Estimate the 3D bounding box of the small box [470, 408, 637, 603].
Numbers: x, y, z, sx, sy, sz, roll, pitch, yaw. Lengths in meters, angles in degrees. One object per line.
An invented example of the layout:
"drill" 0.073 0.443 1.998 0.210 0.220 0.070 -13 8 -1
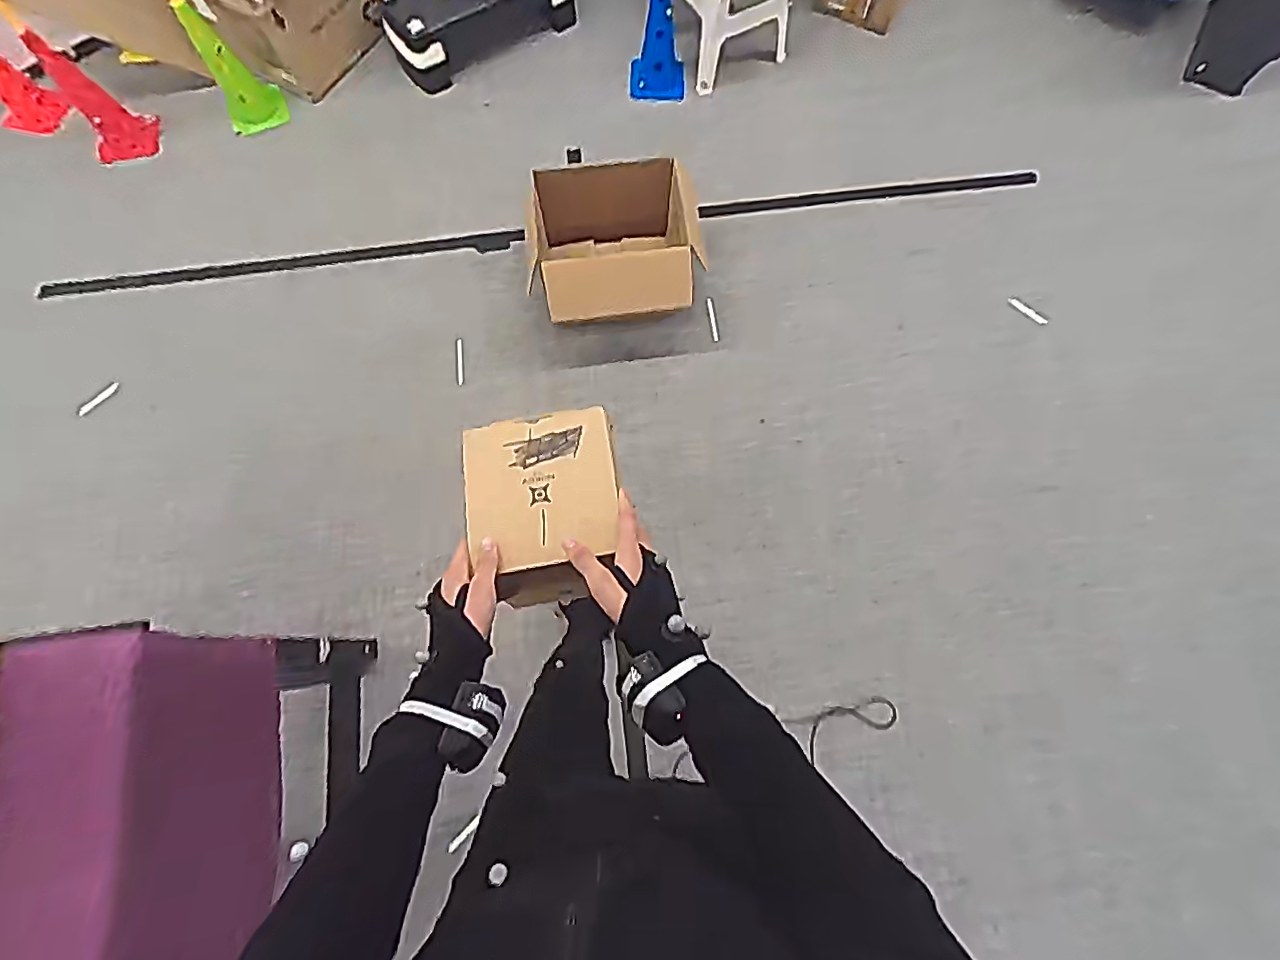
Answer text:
"small box" -0.099 0.038 0.662 0.168 0.176 0.179 -9 66 0
